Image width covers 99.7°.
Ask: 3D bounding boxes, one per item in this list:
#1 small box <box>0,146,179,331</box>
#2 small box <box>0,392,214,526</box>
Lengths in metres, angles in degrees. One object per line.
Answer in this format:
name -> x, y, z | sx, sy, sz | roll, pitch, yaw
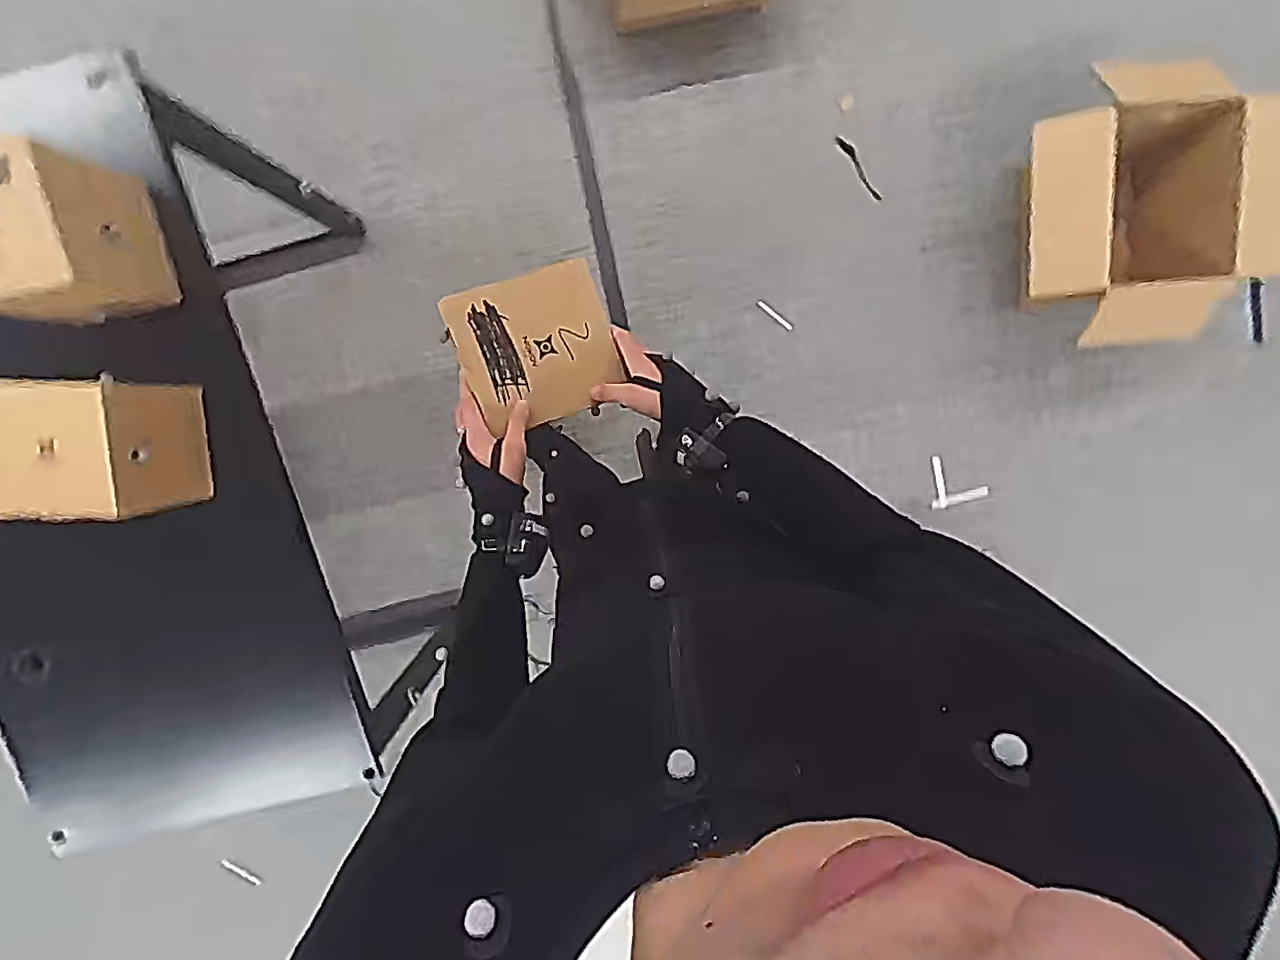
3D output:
small box -> -0.796, -0.313, 0.737 | 0.168, 0.176, 0.179 | -12, 100, 2
small box -> -0.768, -0.037, 0.783 | 0.168, 0.176, 0.179 | -1, 100, 0
